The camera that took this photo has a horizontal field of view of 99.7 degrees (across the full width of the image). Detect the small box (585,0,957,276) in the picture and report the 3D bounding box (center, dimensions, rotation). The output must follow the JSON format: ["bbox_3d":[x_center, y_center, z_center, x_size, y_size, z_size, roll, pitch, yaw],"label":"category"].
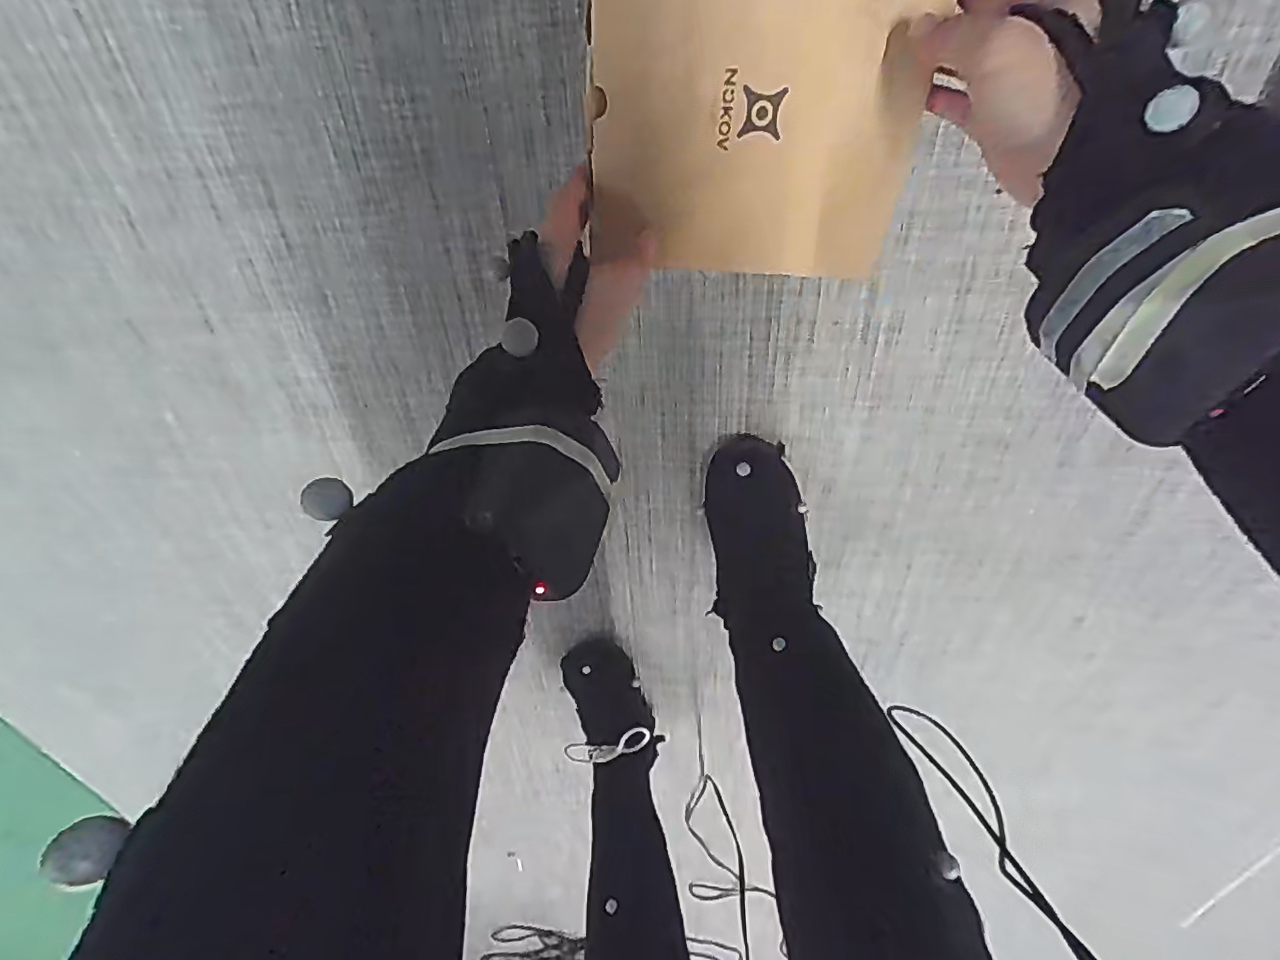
[{"bbox_3d":[0.063,-0.244,0.341,0.179,0.176,0.168,5,129,1],"label":"small box"}]
